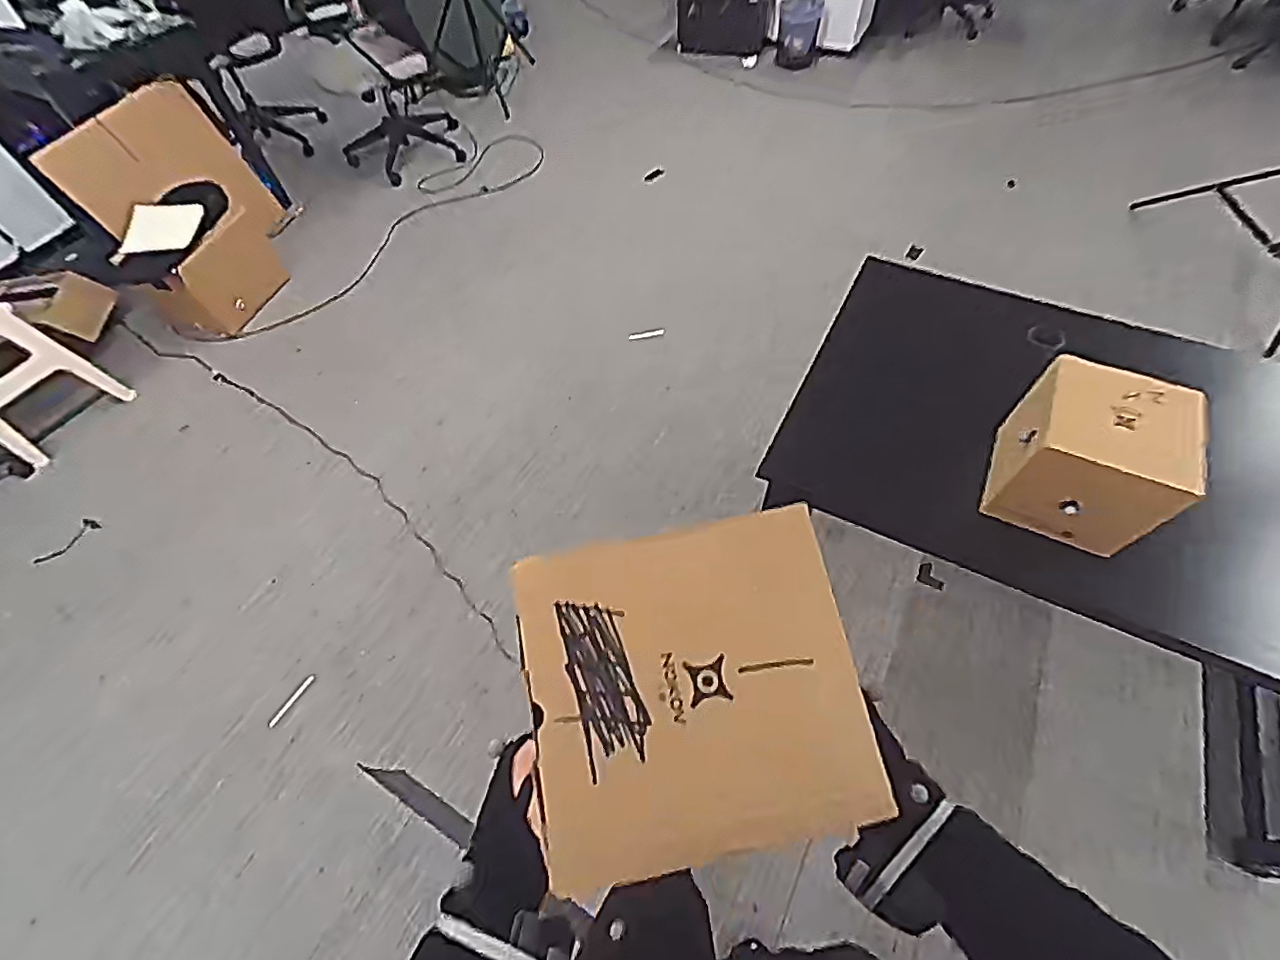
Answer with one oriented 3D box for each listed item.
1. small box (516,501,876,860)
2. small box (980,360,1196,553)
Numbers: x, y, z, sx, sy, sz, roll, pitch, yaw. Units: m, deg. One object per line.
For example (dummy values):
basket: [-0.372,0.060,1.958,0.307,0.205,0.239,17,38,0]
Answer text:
small box: [0.026,0.126,0.378,0.179,0.176,0.168,-11,74,-3]
small box: [0.603,-0.027,0.746,0.168,0.176,0.179,23,61,17]
